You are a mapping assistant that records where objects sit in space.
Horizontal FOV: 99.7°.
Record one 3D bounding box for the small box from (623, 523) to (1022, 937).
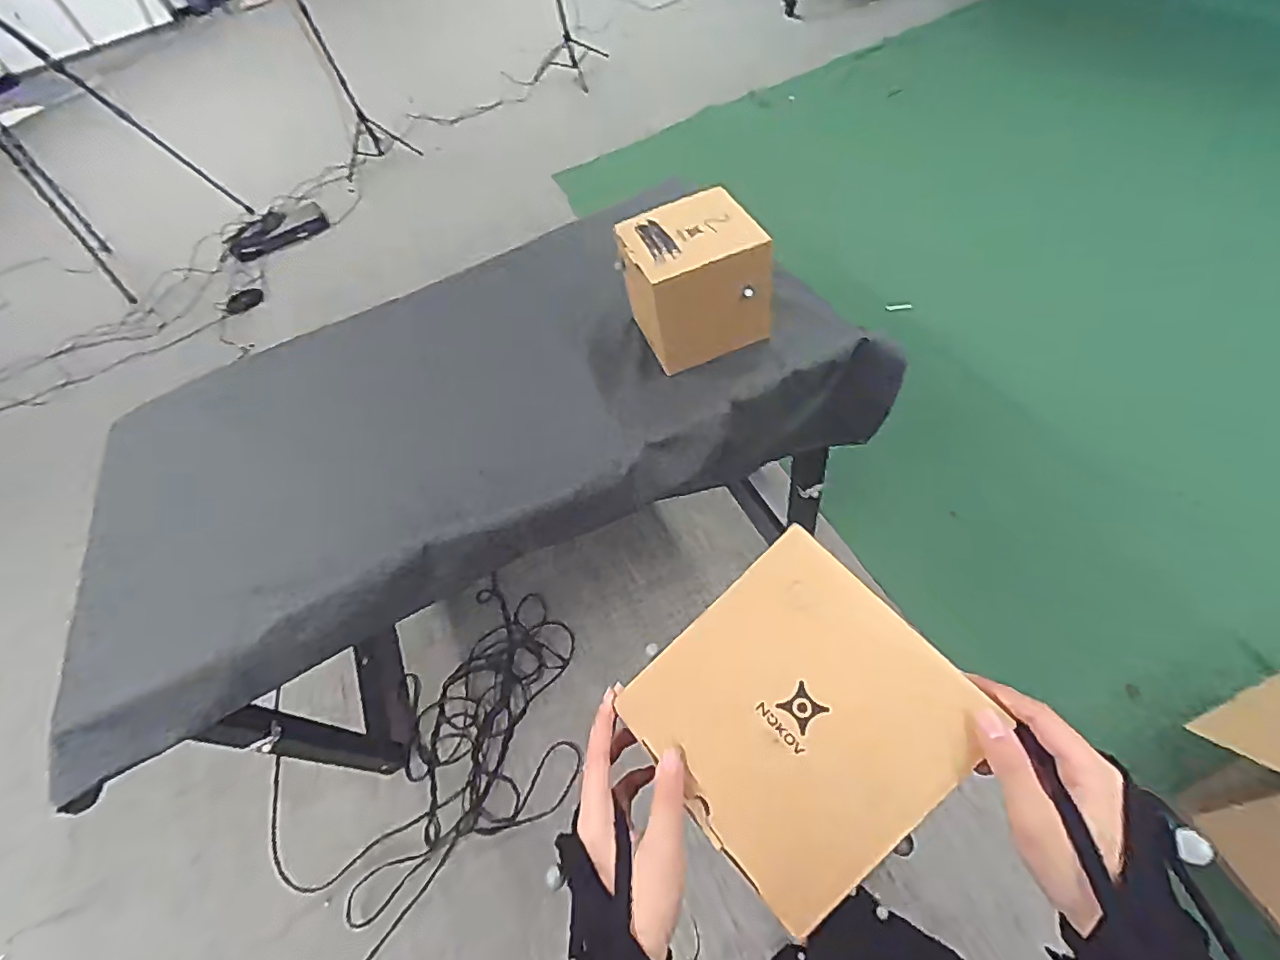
[{"bbox_3d":[0.118,0.161,0.400,0.179,0.176,0.168,-44,68,-1],"label":"small box"}]
